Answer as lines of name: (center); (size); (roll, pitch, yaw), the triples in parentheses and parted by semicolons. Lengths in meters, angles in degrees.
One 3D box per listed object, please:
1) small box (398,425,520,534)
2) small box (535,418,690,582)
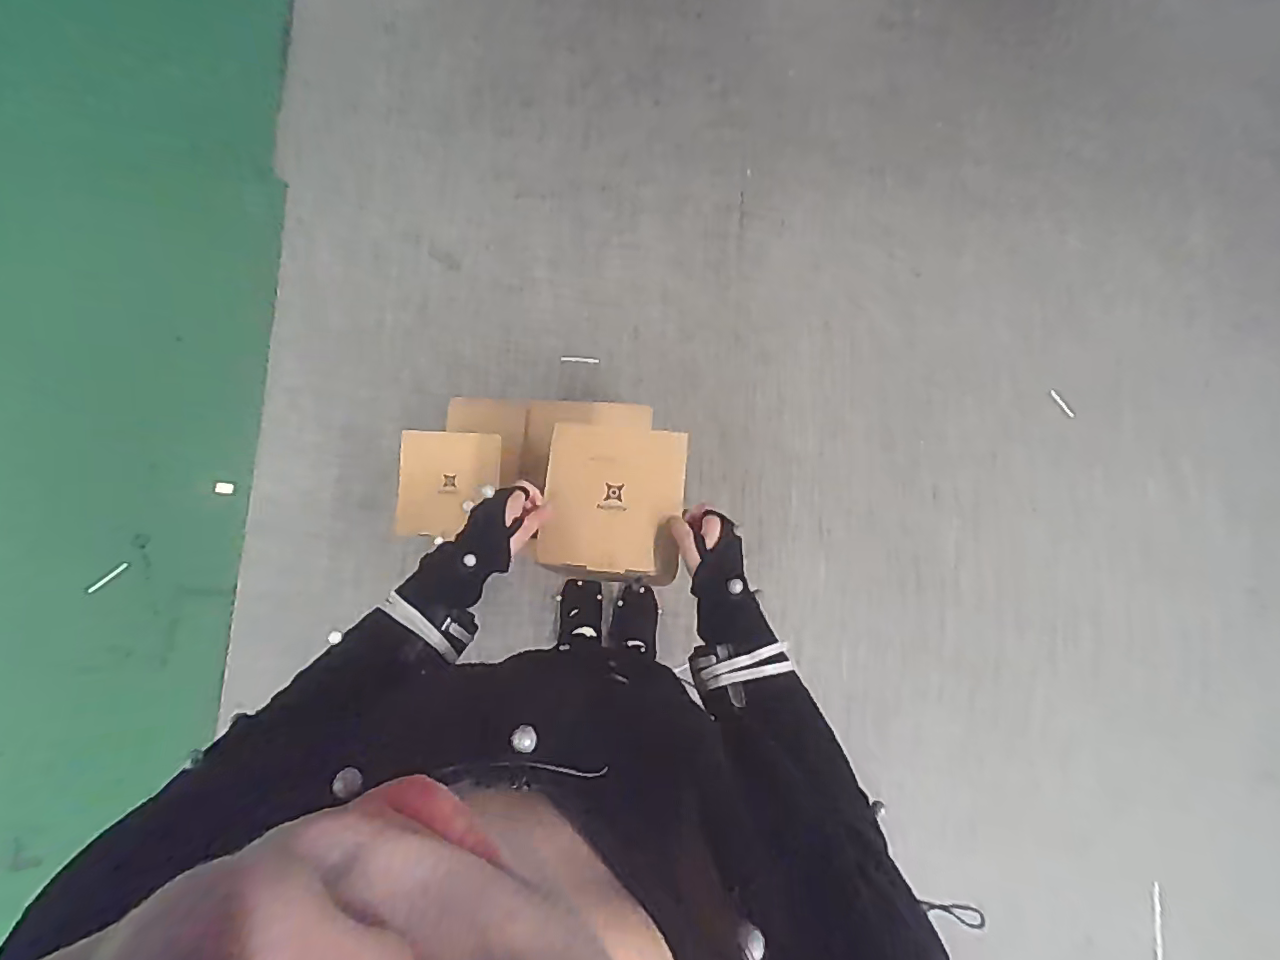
small box: (-0.314, 0.004, 0.970); (0.168, 0.176, 0.179); (2, 87, -3)
small box: (-0.029, 0.036, 0.709); (0.168, 0.176, 0.179); (6, 76, 2)
